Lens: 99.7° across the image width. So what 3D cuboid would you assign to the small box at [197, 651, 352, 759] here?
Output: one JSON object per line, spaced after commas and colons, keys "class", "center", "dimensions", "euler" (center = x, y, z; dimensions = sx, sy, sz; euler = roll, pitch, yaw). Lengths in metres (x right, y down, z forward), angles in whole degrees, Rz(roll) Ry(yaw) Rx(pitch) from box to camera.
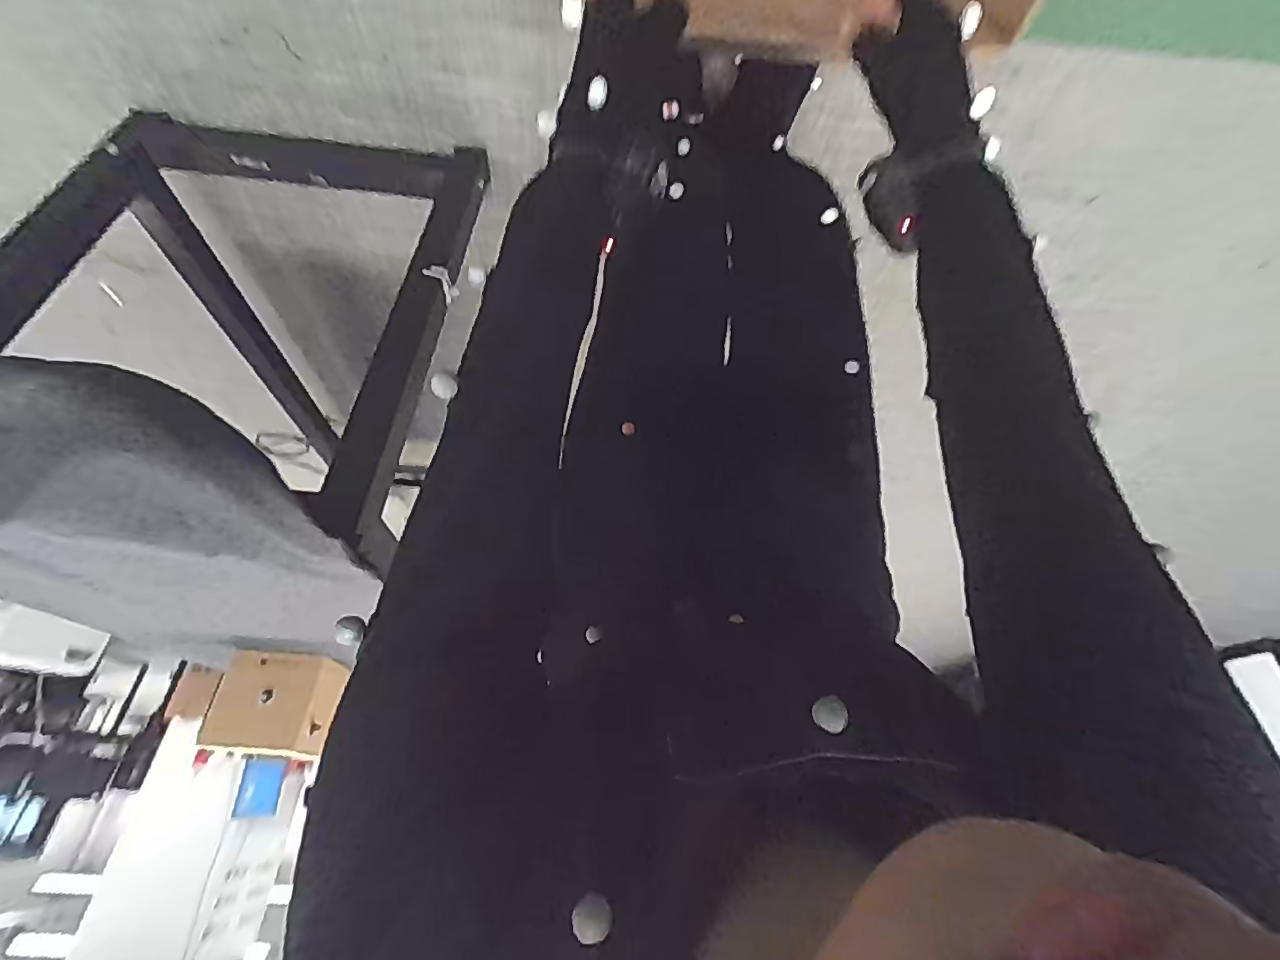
{"class": "small box", "center": [-0.692, 0.439, 1.050], "dimensions": [0.168, 0.176, 0.179], "euler": [6, 149, -4]}
